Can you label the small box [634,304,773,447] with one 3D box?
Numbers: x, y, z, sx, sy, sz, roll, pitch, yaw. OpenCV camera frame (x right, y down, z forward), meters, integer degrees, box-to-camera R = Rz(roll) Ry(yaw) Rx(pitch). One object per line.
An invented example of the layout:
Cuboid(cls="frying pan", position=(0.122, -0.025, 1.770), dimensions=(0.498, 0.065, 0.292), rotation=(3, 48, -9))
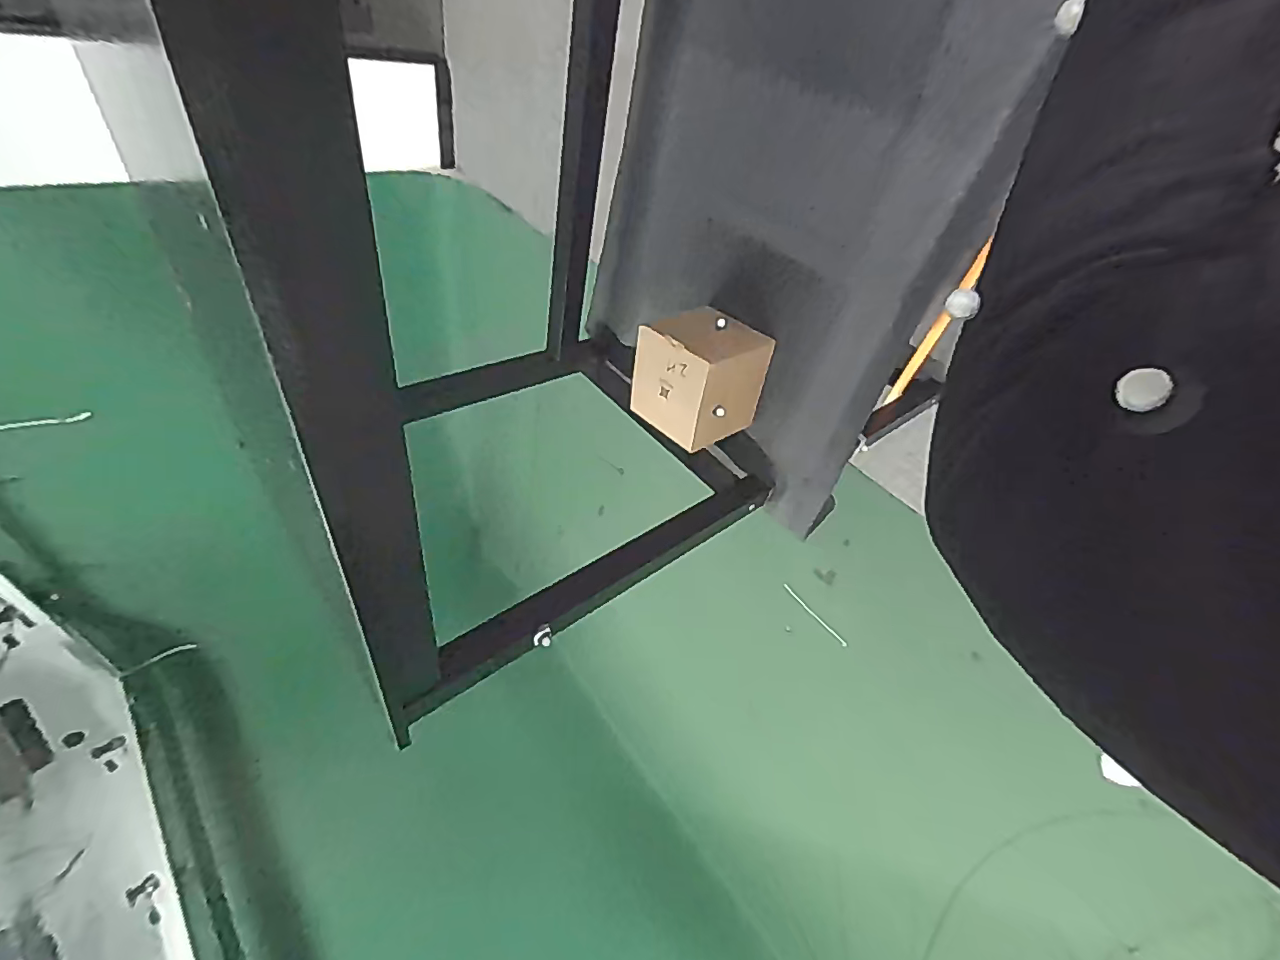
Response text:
Cuboid(cls="small box", position=(0.112, -0.192, 0.968), dimensions=(0.168, 0.176, 0.179), rotation=(40, 139, 32))
